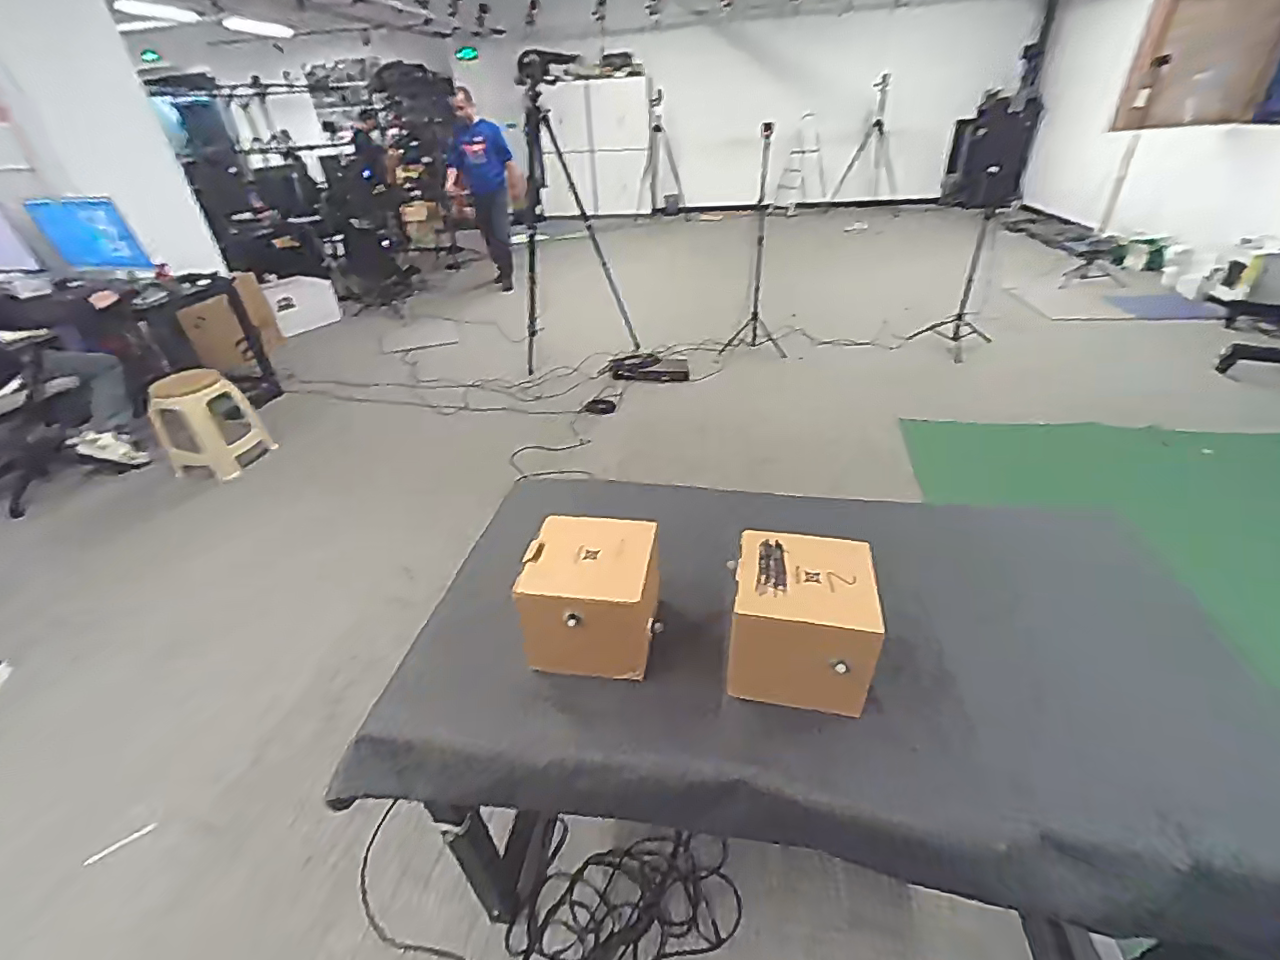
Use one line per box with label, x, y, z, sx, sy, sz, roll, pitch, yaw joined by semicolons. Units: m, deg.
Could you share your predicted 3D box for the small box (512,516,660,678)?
small box;-0.068;0.173;0.810;0.179;0.176;0.168;4;35;9
